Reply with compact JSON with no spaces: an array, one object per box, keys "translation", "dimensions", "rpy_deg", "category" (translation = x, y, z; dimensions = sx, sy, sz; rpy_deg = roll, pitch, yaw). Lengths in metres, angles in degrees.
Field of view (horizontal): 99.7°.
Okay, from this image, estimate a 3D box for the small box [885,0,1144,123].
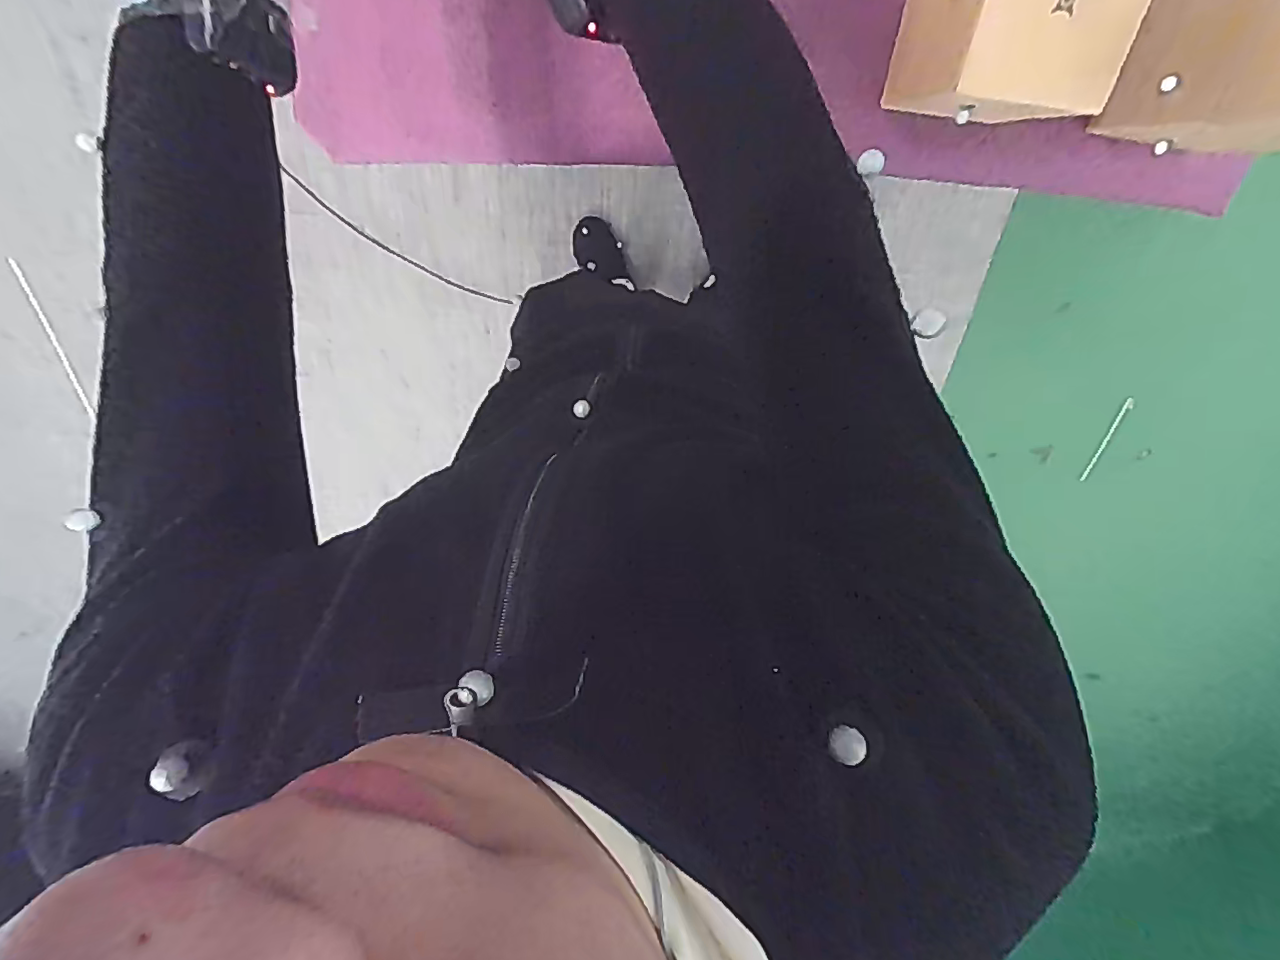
[{"translation":[0.389,-0.494,0.574],"dimensions":[0.168,0.176,0.179],"rpy_deg":[3,119,-6],"category":"small box"}]
